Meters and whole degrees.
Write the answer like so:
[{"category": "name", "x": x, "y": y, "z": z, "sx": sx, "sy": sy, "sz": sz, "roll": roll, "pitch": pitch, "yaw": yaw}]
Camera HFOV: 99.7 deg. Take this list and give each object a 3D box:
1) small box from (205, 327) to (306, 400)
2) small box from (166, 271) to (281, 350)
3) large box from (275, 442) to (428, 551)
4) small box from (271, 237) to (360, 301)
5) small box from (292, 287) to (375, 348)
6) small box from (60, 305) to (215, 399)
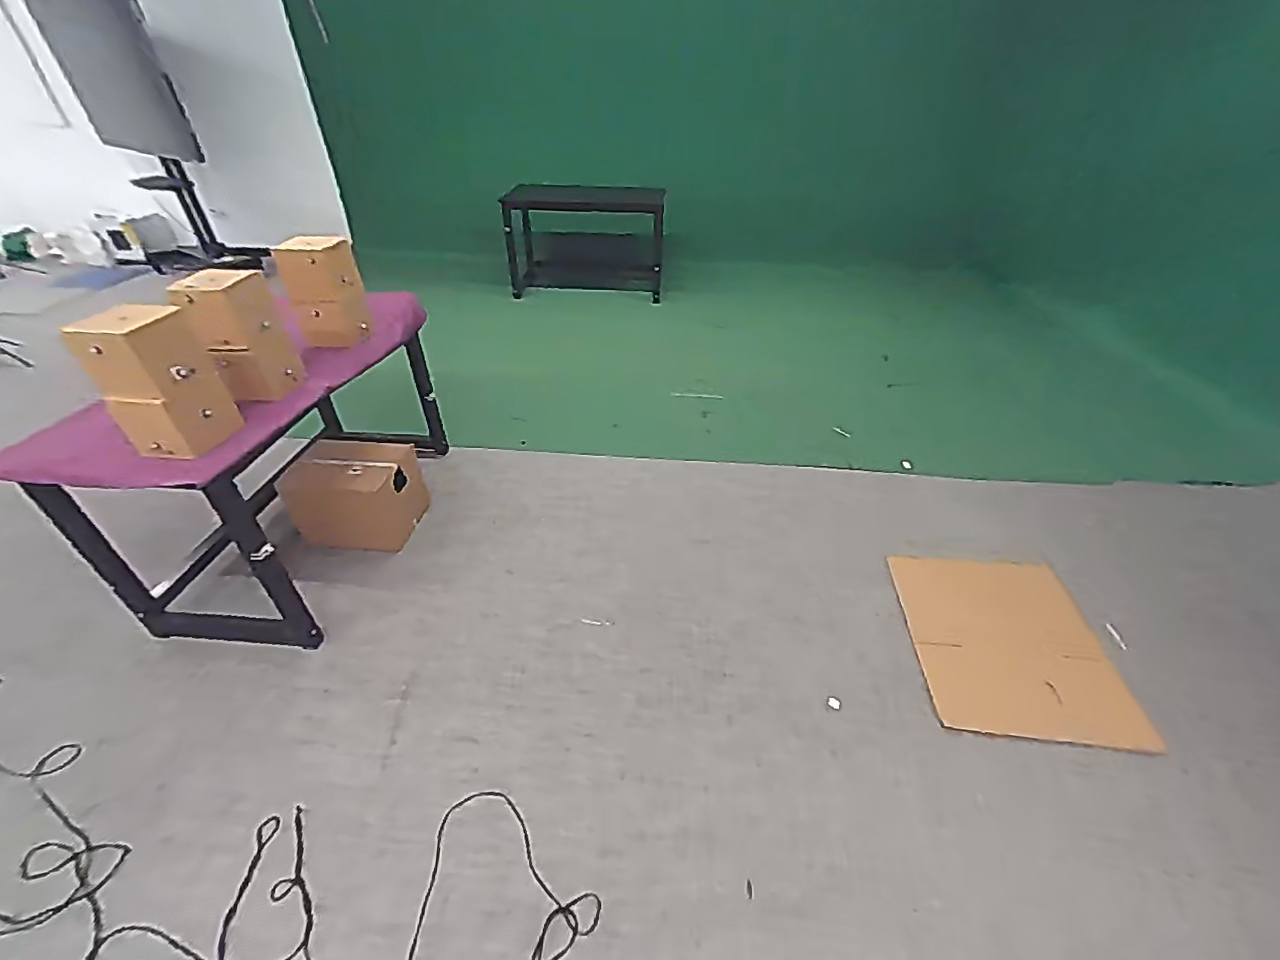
[{"category": "small box", "x": -1.155, "y": -0.350, "z": 1.621, "sx": 0.179, "sy": 0.176, "sz": 0.168, "roll": 2, "pitch": 38, "yaw": 4}, {"category": "small box", "x": -1.155, "y": -0.479, "z": 1.520, "sx": 0.168, "sy": 0.176, "sz": 0.179, "roll": 1, "pitch": 37, "yaw": 4}, {"category": "large box", "x": -1.135, "y": 0.064, "z": 2.174, "sx": 0.408, "sy": 0.320, "sz": 0.320, "roll": 4, "pitch": 38, "yaw": 4}, {"category": "small box", "x": -1.091, "y": -0.714, "z": 1.834, "sx": 0.179, "sy": 0.176, "sz": 0.168, "roll": 4, "pitch": 38, "yaw": 4}, {"category": "small box", "x": -1.087, "y": -0.584, "z": 1.931, "sx": 0.179, "sy": 0.176, "sz": 0.168, "roll": 4, "pitch": 38, "yaw": 4}, {"category": "small box", "x": -1.191, "y": -0.307, "z": 1.296, "sx": 0.179, "sy": 0.176, "sz": 0.168, "roll": 5, "pitch": 39, "yaw": 7}]
